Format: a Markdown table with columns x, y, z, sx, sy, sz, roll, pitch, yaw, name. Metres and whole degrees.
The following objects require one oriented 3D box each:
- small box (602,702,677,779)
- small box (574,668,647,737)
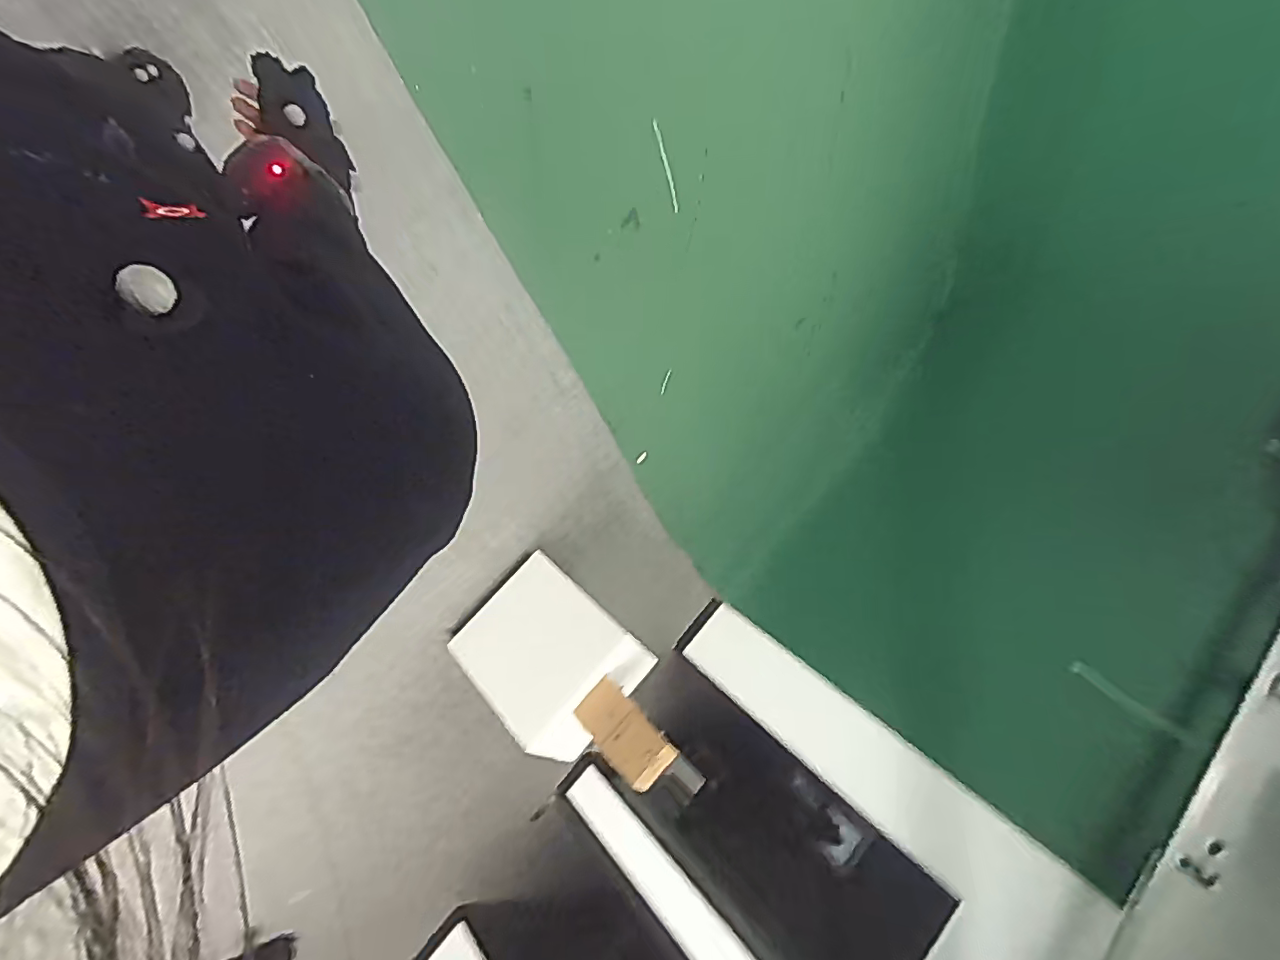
| x | y | z | sx | sy | sz | roll | pitch | yaw | name |
| --- | --- | --- | --- | --- | --- | --- | --- | --- | --- |
| -0.001 | 0.898 | 1.868 | 0.168 | 0.176 | 0.179 | -46 | 145 | -11 | small box |
| -0.107 | 0.813 | 1.955 | 0.179 | 0.176 | 0.168 | -46 | 145 | -13 | small box |
